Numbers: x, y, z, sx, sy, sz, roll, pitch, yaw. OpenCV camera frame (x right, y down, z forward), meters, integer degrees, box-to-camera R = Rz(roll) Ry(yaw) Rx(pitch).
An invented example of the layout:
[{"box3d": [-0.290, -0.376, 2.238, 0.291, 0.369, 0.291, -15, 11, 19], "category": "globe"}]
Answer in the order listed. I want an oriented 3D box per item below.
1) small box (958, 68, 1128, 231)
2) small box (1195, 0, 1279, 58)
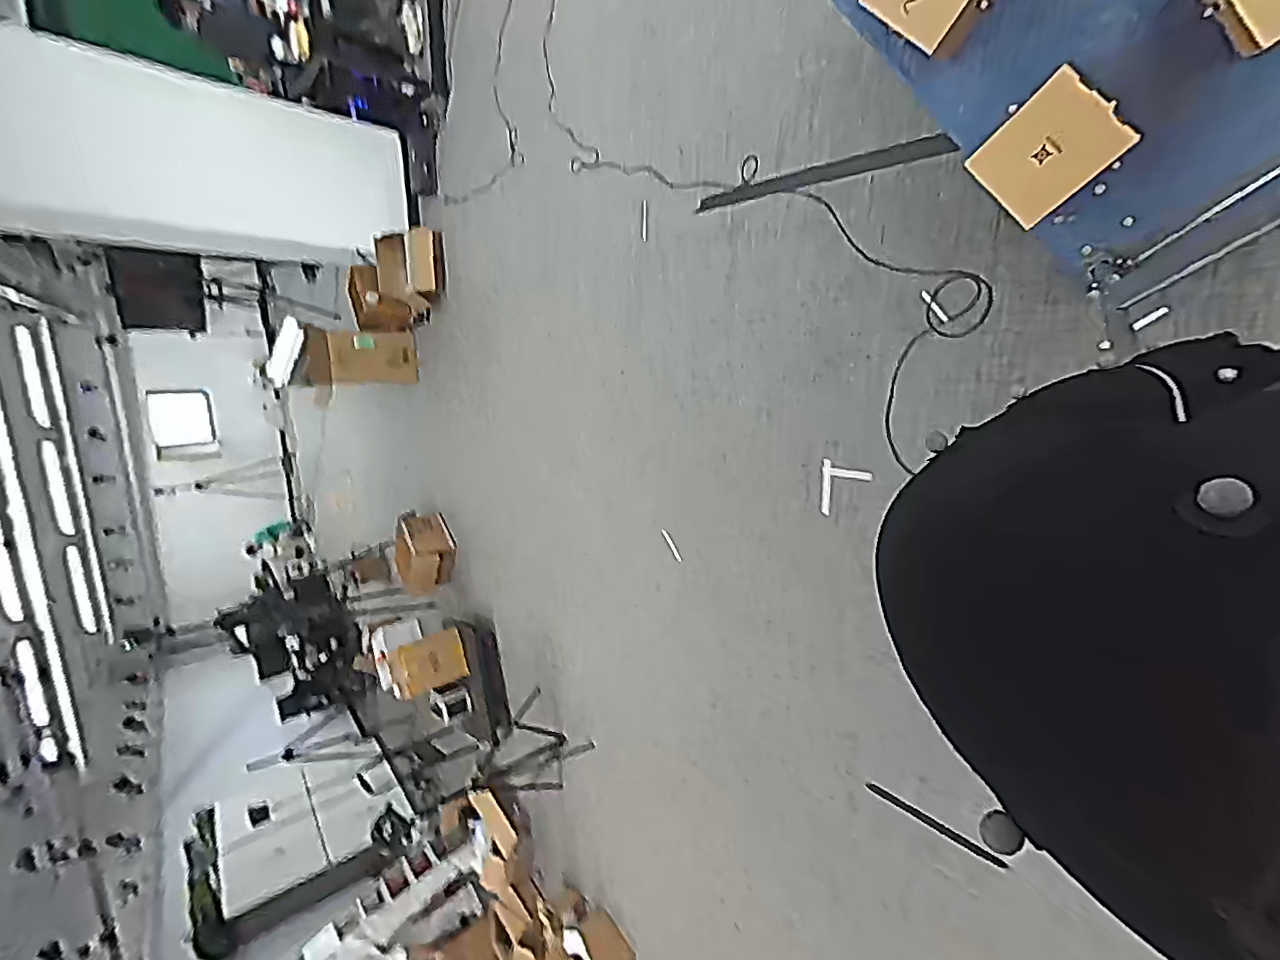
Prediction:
[{"box3d": [0.705, -0.573, 0.951, 0.168, 0.176, 0.179, 49, 135, 3], "category": "small box"}, {"box3d": [0.876, -0.707, 0.719, 0.168, 0.176, 0.179, 54, 137, -3], "category": "small box"}]
